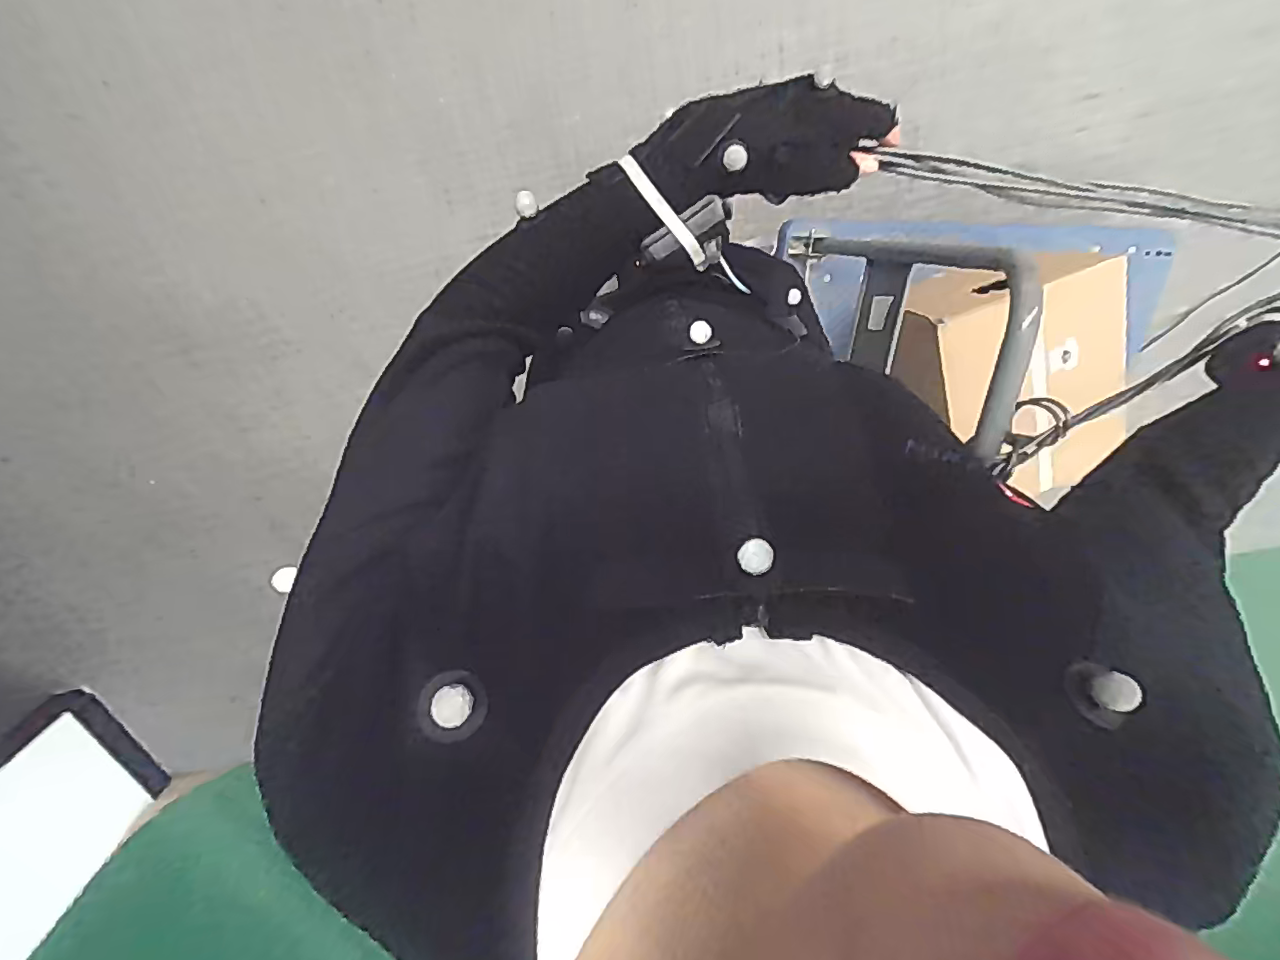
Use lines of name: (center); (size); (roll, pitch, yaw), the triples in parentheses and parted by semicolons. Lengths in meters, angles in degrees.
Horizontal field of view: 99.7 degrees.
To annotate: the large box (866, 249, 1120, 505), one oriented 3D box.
large box: (0.713, -0.223, 1.125); (0.320, 0.320, 0.408); (-19, 113, 7)
